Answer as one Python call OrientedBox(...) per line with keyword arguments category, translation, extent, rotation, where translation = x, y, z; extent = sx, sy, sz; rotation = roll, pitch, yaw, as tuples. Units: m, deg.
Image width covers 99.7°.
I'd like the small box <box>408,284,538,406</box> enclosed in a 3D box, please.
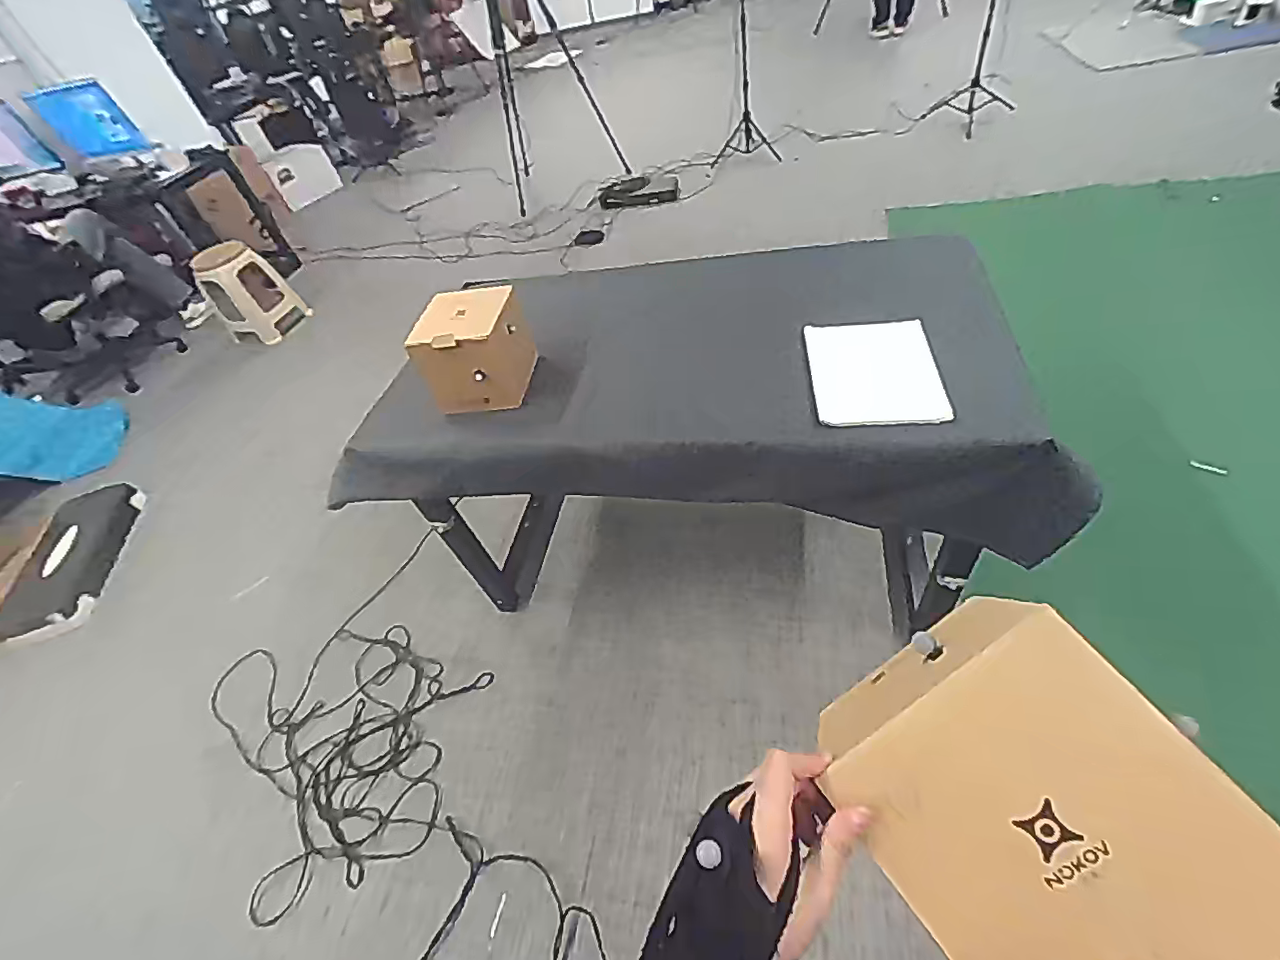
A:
OrientedBox(category="small box", translation=(-0.313, -0.257, 1.058), extent=(0.168, 0.176, 0.179), rotation=(-2, 47, 11))
